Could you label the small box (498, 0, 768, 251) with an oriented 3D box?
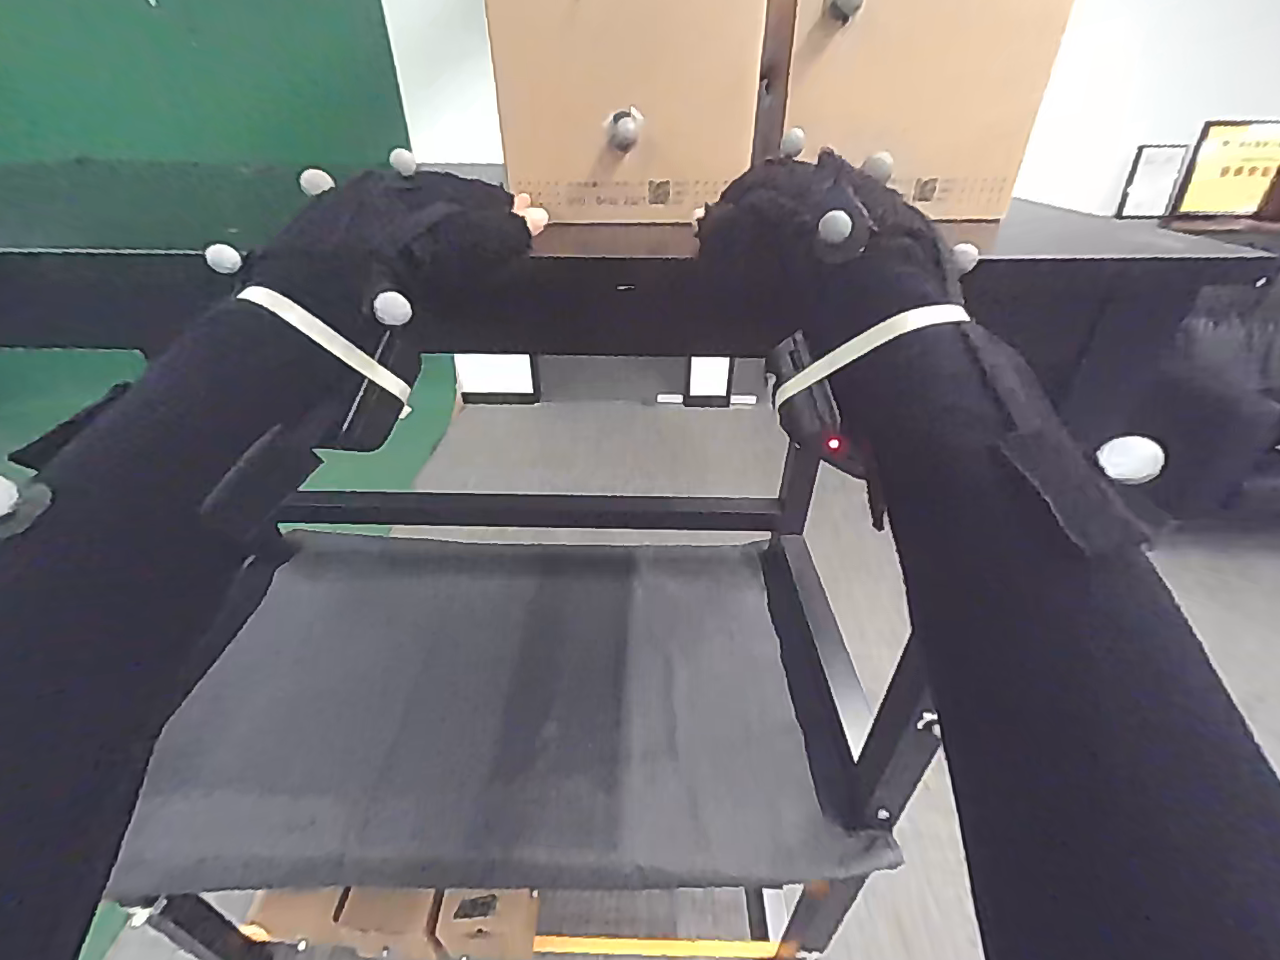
[{"bbox_3d":[-0.007,-0.284,0.417,0.168,0.176,0.179,0,34,0],"label":"small box"}]
